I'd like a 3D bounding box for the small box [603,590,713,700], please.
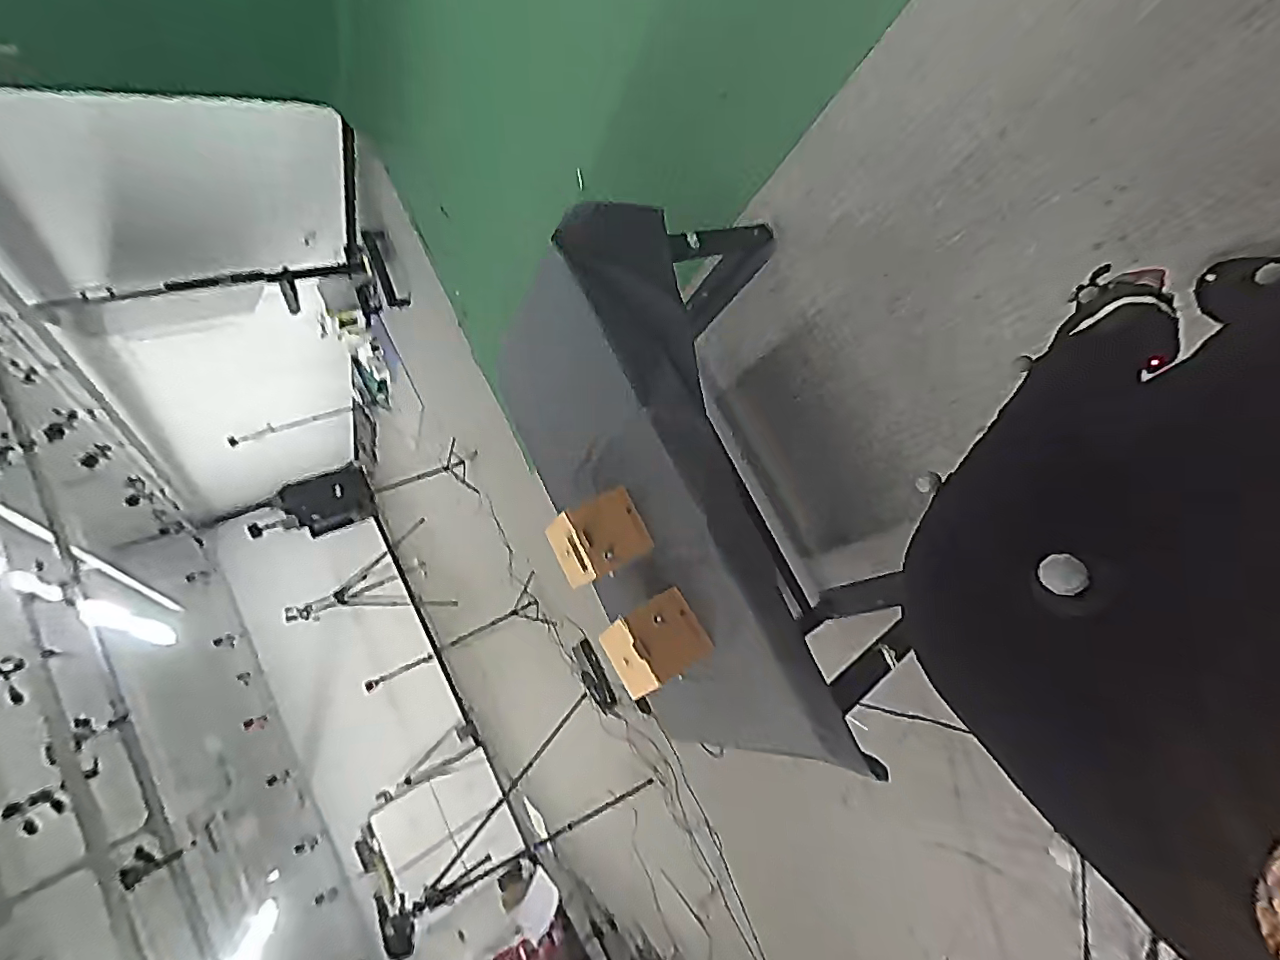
[{"bbox_3d":[0.045,0.380,1.255,0.168,0.176,0.179,58,148,18],"label":"small box"}]
